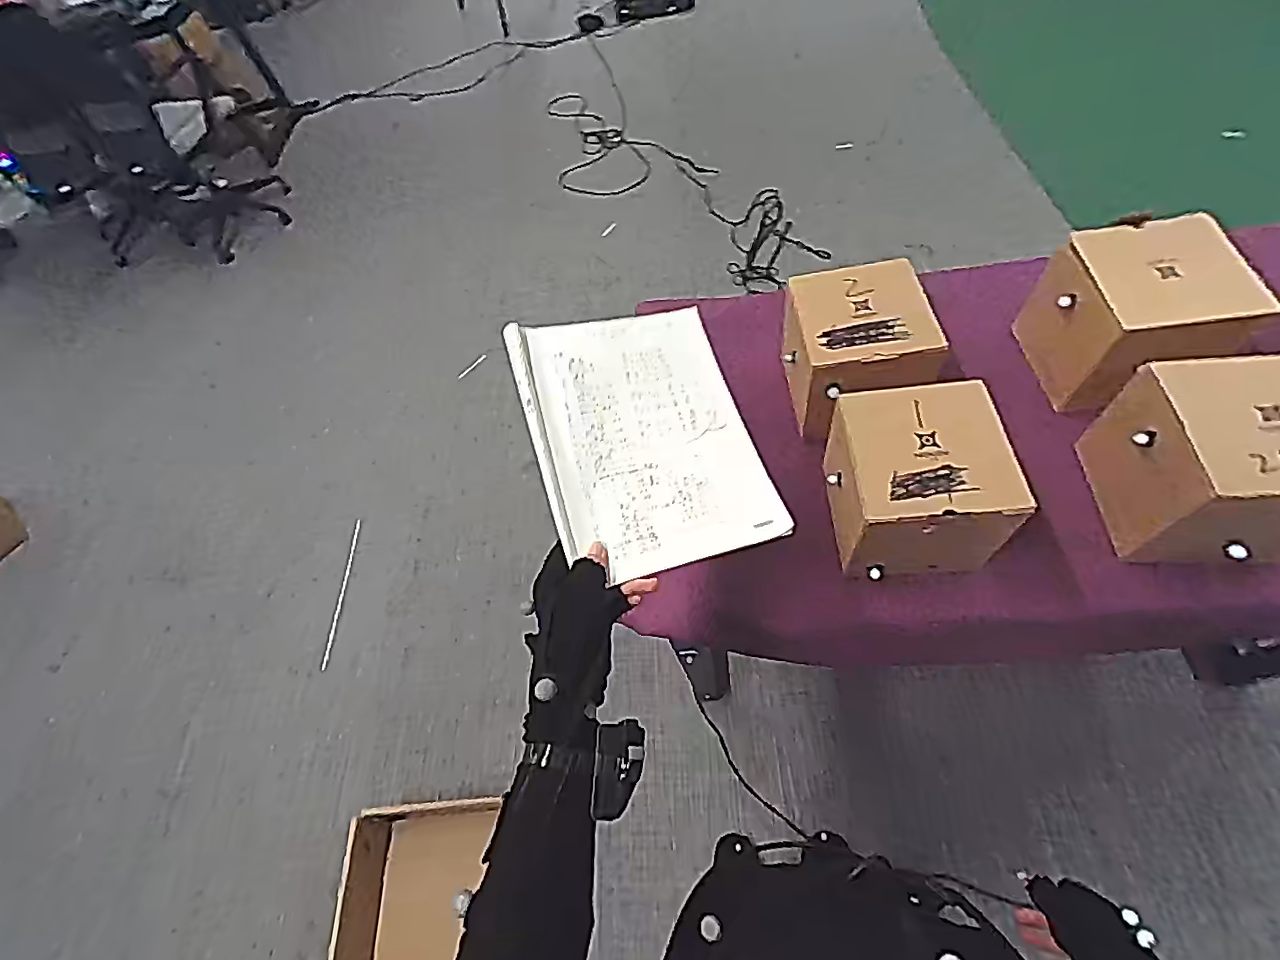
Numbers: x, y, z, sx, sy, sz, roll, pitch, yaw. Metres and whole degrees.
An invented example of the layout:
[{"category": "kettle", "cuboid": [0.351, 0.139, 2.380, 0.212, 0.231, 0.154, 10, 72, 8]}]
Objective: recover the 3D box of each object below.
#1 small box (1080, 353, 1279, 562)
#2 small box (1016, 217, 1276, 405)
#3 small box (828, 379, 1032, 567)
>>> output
[{"category": "small box", "cuboid": [0.653, -0.021, 0.615, 0.168, 0.176, 0.179, -1, 59, 11]}, {"category": "small box", "cuboid": [0.656, -0.217, 0.734, 0.168, 0.176, 0.179, -6, 59, 8]}, {"category": "small box", "cuboid": [0.334, 0.002, 0.667, 0.168, 0.176, 0.179, -4, 59, 10]}]
